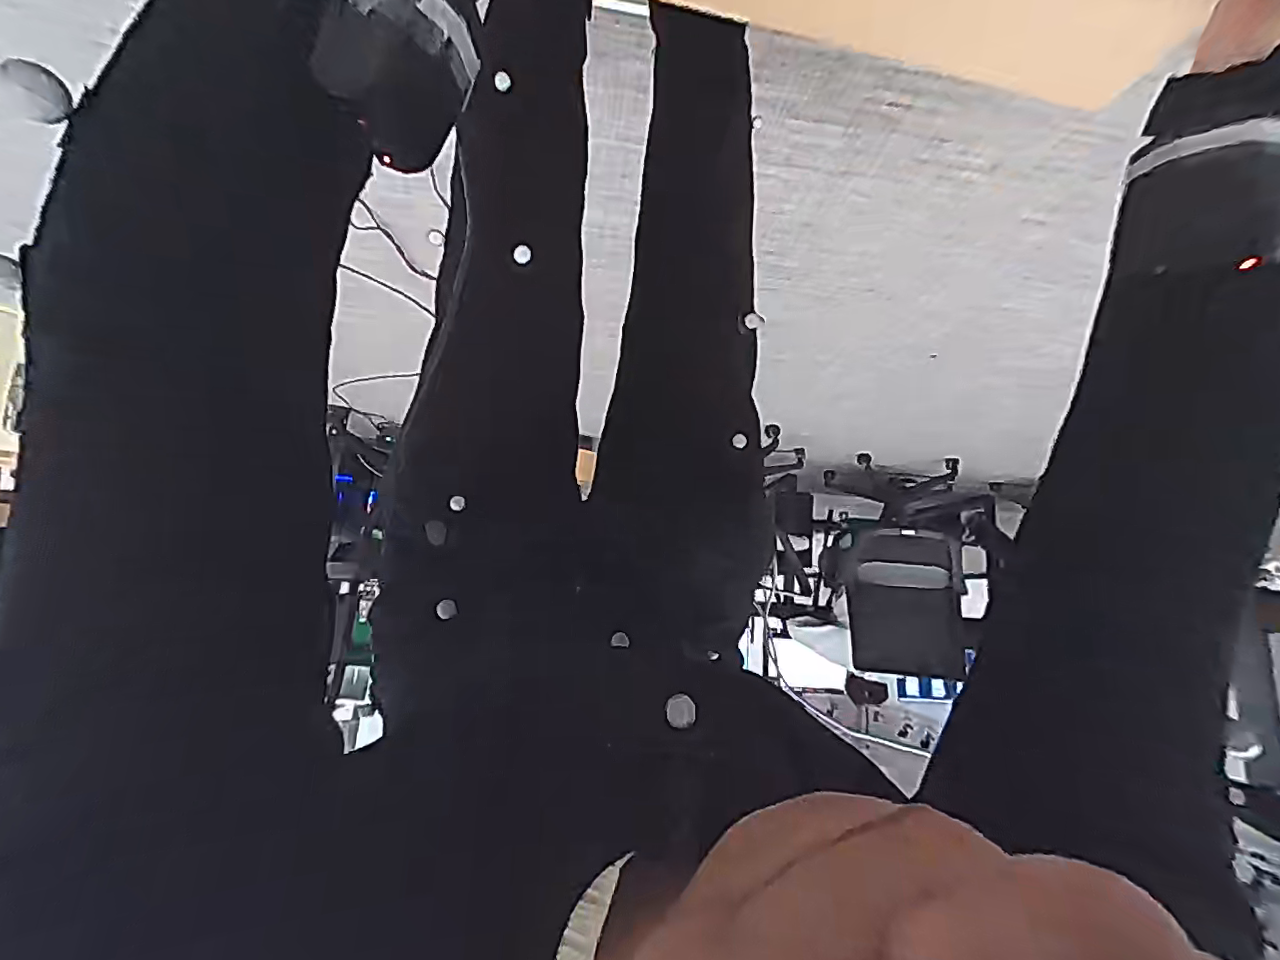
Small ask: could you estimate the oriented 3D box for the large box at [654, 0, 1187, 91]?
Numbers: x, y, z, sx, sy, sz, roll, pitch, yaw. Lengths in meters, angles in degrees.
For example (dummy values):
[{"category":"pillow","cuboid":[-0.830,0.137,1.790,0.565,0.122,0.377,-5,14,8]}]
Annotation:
[{"category":"large box","cuboid":[0.145,-0.462,0.231,0.408,0.320,0.320,6,170,-8]}]
